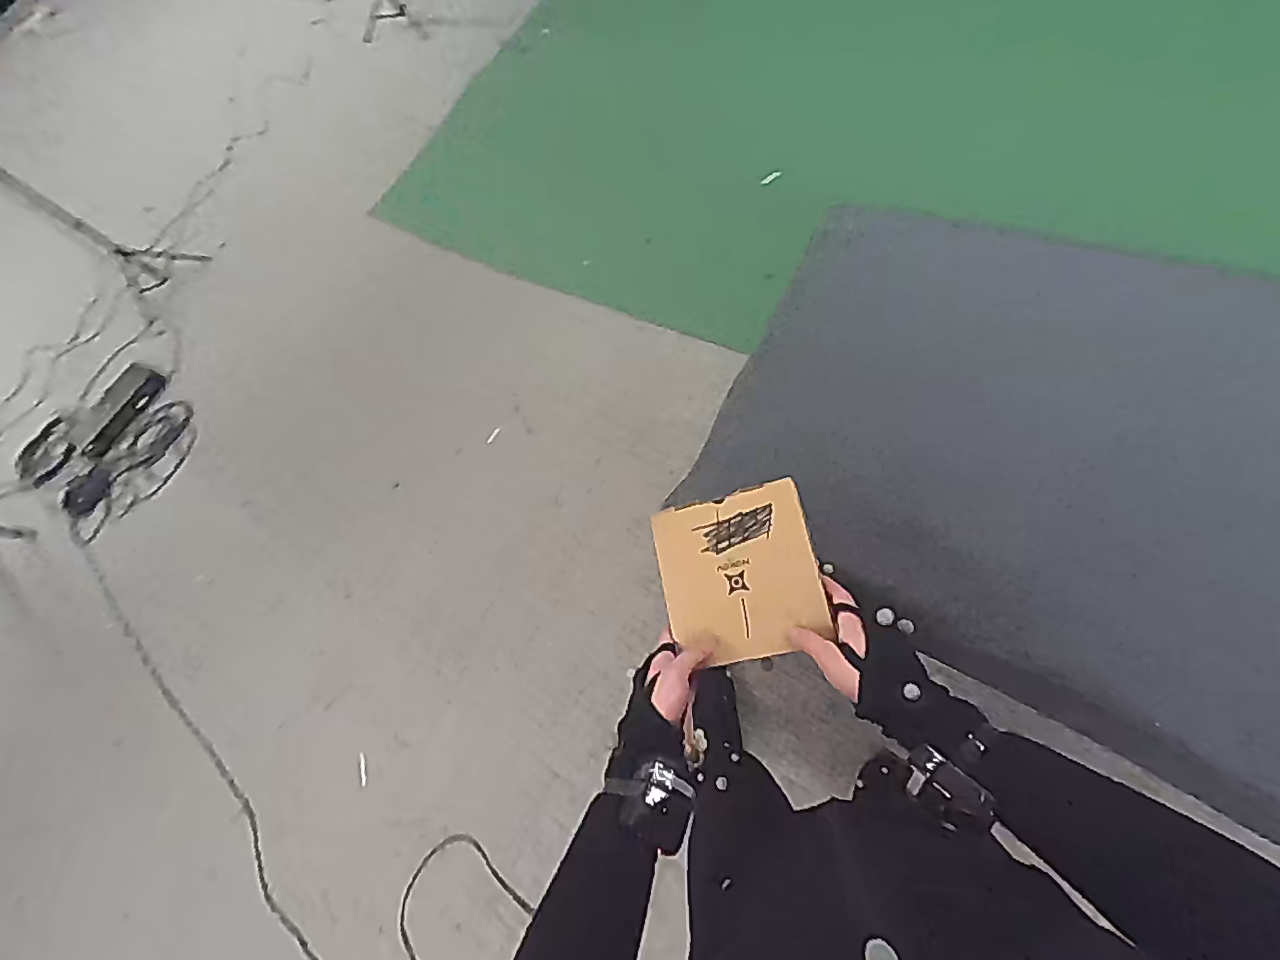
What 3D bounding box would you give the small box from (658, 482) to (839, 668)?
[{"bbox_3d":[0.133,0.121,0.651,0.168,0.176,0.179,-15,71,16],"label":"small box"}]
